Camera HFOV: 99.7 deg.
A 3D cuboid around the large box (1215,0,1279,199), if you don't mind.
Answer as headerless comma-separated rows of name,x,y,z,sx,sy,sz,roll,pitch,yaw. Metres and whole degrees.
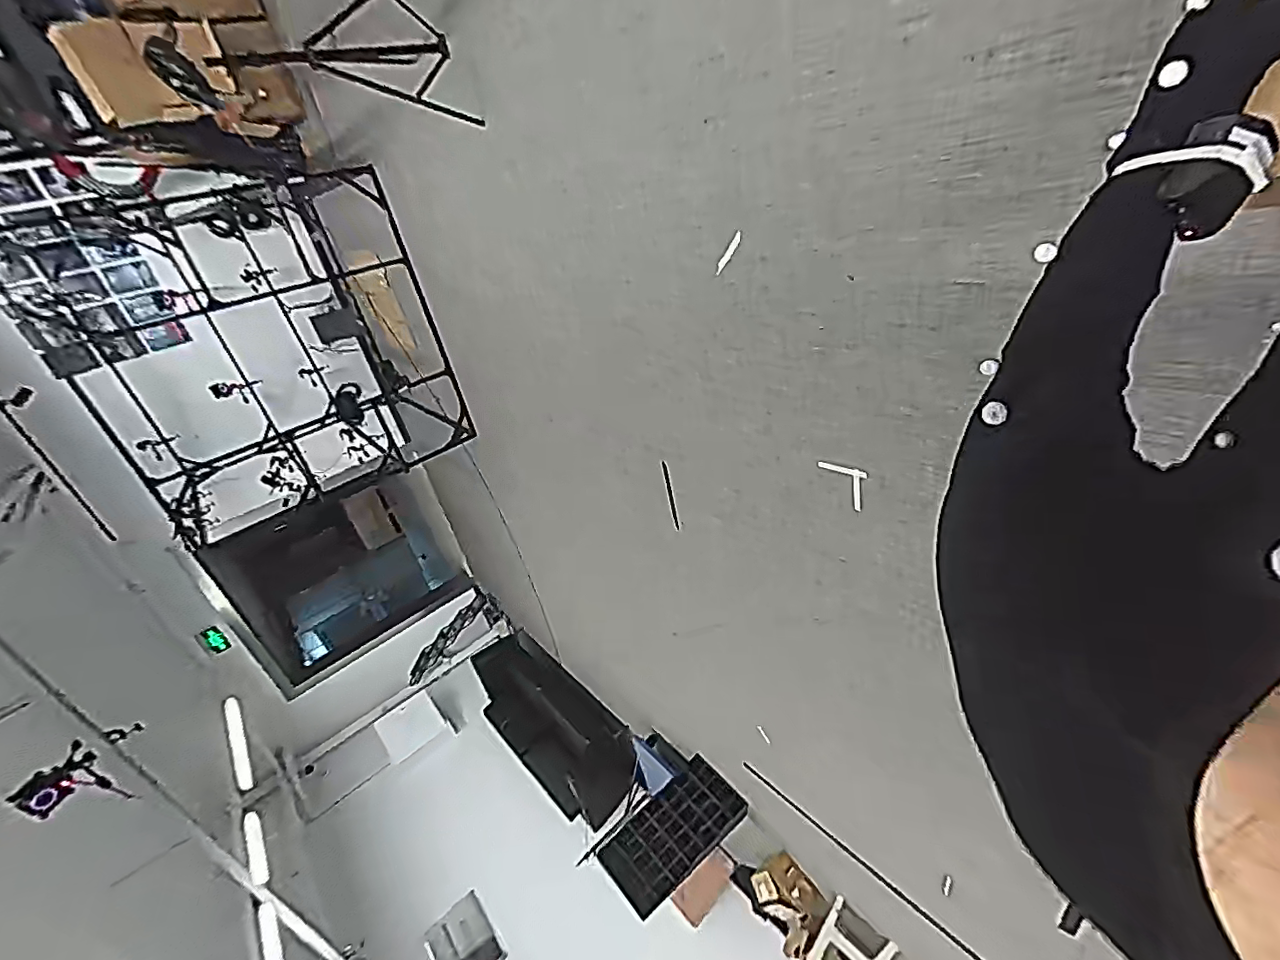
large box,0.717,-0.396,0.358,0.408,0.320,0.320,20,119,45
